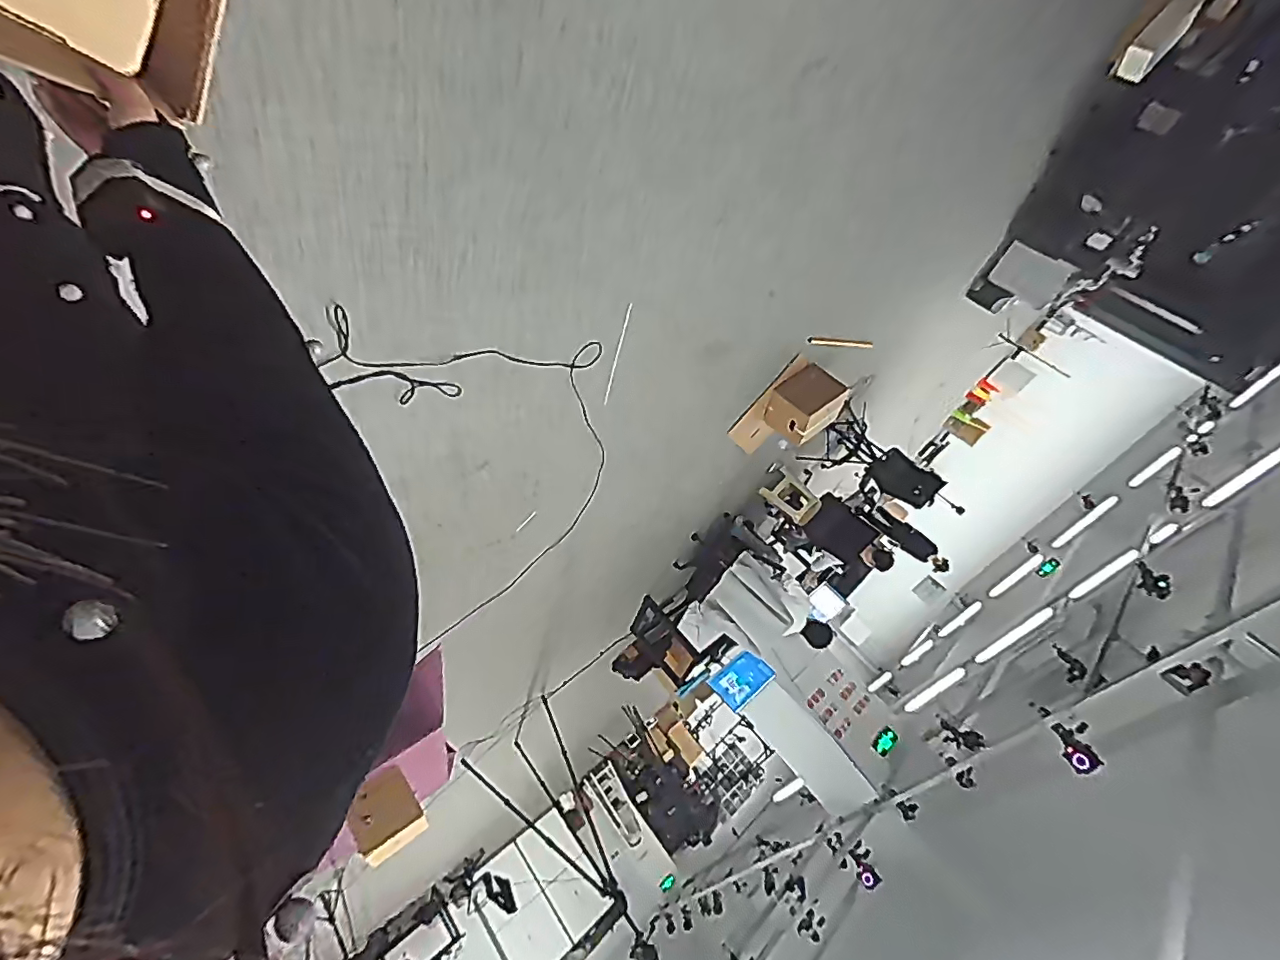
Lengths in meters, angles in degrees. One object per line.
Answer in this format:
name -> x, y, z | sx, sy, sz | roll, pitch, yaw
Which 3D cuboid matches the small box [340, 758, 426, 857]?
small box -> -0.740, 0.939, 1.559 | 0.168, 0.176, 0.179 | -26, 151, -33
